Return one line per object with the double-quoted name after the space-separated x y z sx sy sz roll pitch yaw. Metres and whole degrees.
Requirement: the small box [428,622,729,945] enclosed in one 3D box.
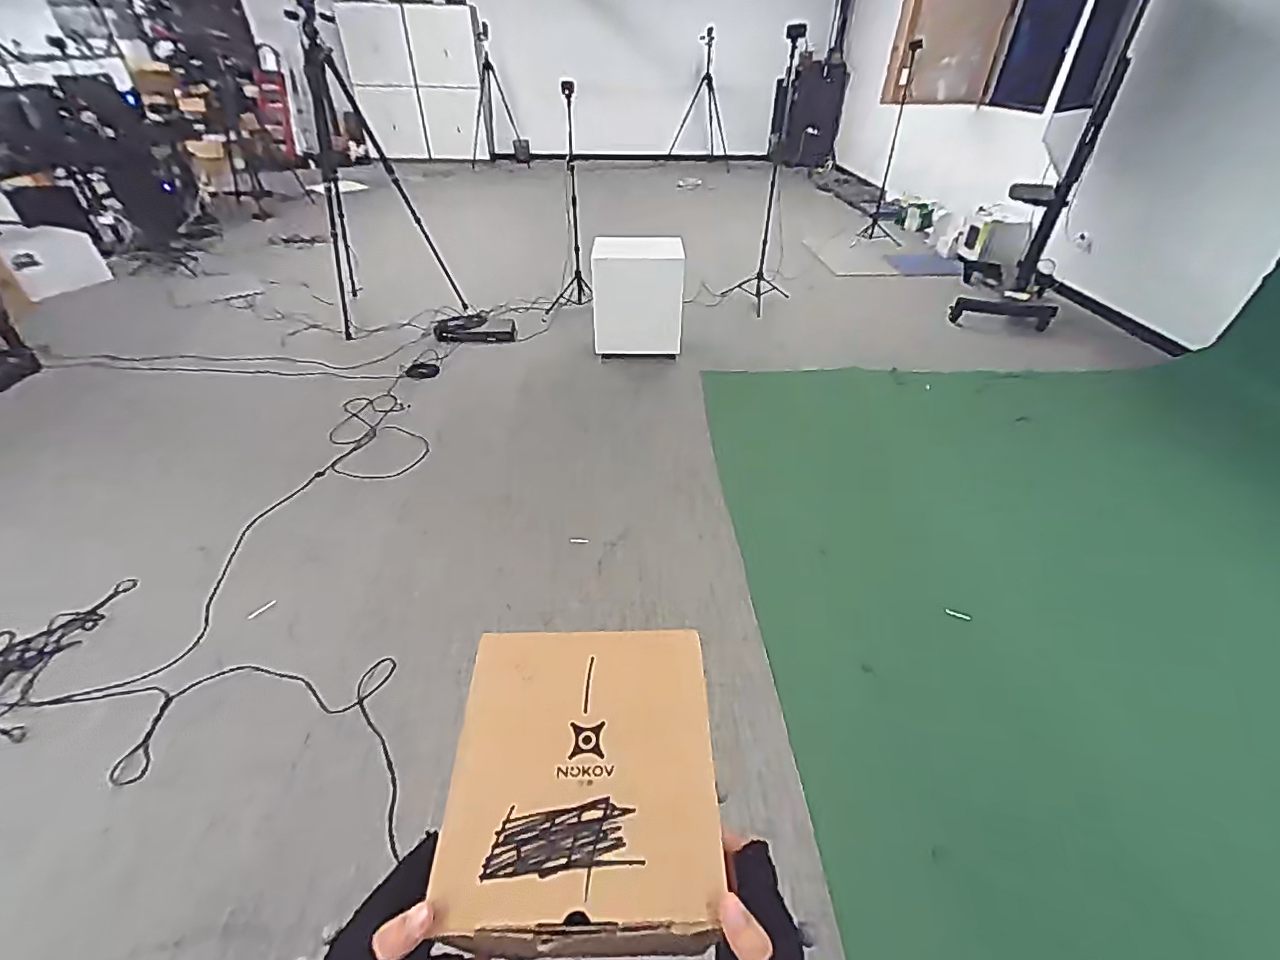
-0.033 0.226 0.401 0.168 0.176 0.179 0 45 -1 "small box"
